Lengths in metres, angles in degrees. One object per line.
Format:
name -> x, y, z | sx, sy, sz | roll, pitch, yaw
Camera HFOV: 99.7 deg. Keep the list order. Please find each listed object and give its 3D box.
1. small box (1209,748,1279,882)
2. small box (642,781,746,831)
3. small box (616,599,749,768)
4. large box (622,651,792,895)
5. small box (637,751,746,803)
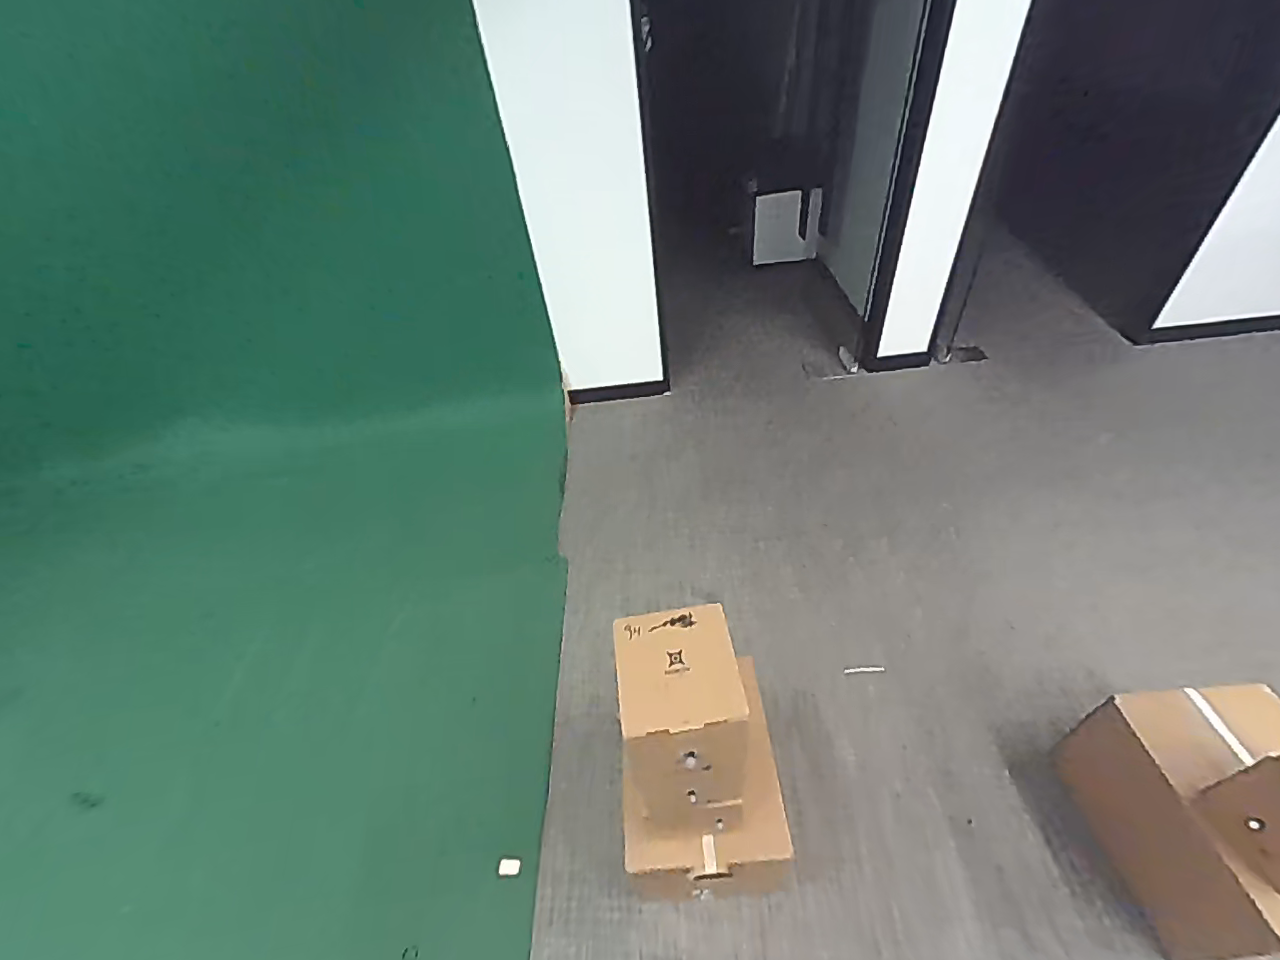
small box -> 1.109, 0.539, 0.872 | 0.179, 0.176, 0.168 | -8, 45, 2
small box -> 0.095, 0.542, 1.020 | 0.179, 0.176, 0.168 | -8, 43, 2
small box -> 0.061, 0.304, 0.796 | 0.168, 0.176, 0.179 | -8, 44, 0
large box -> 0.136, 0.664, 1.239 | 0.320, 0.320, 0.408 | -6, 43, 2
small box -> 0.077, 0.421, 0.911 | 0.168, 0.176, 0.179 | -10, 43, -2
